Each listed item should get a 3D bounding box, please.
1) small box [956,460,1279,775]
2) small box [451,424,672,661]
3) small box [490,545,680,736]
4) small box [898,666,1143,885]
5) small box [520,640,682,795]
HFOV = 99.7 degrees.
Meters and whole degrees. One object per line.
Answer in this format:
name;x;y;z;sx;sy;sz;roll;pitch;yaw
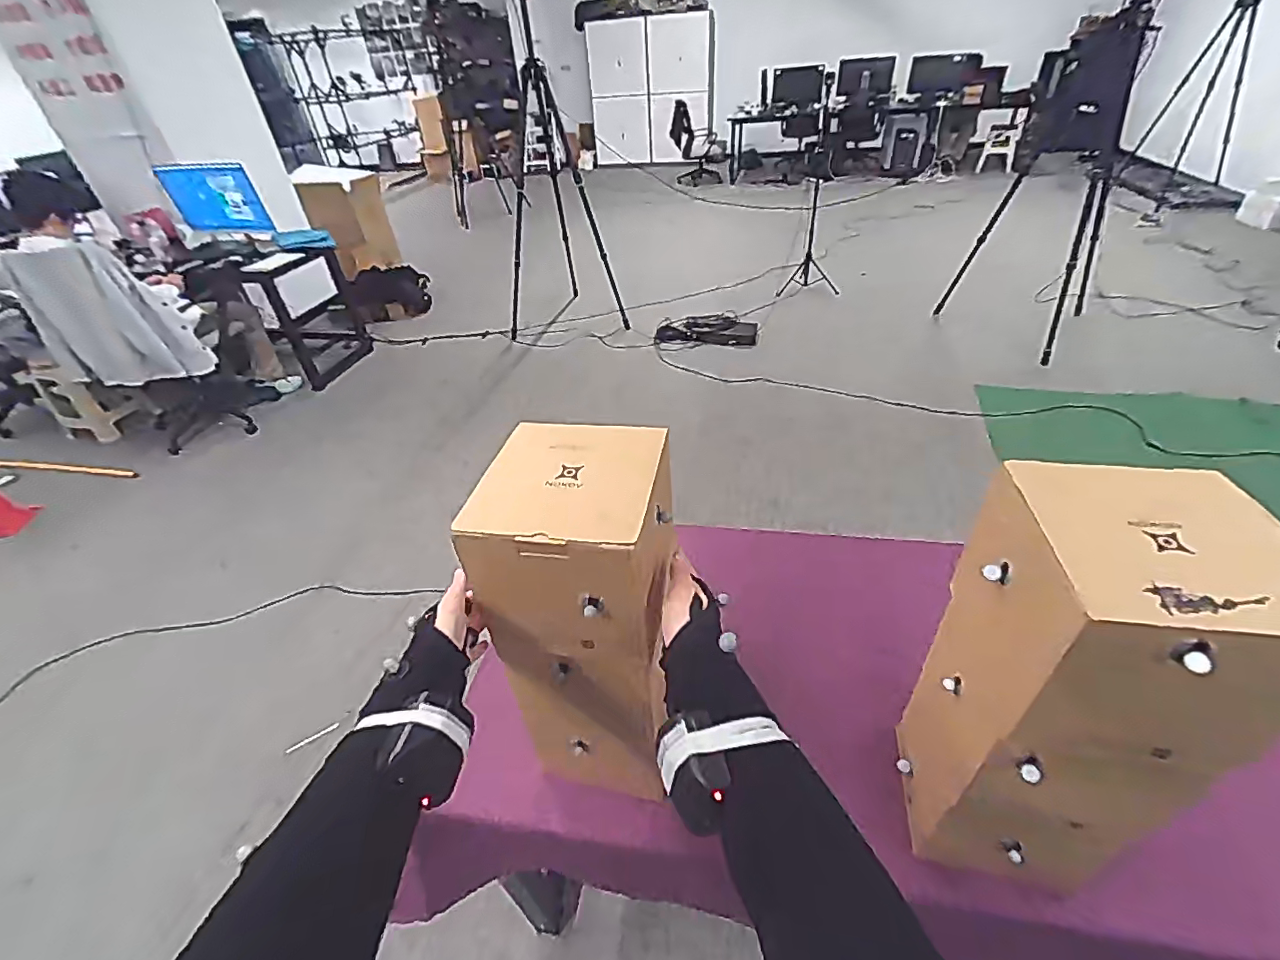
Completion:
small box;0.385;0.103;0.441;0.168;0.176;0.179;2;38;11
small box;-0.060;0.060;0.554;0.168;0.176;0.179;3;39;11
small box;-0.049;0.186;0.658;0.179;0.176;0.168;4;39;14
small box;0.430;0.354;0.651;0.179;0.176;0.168;4;39;14
small box;-0.042;0.313;0.760;0.179;0.176;0.168;5;40;13
